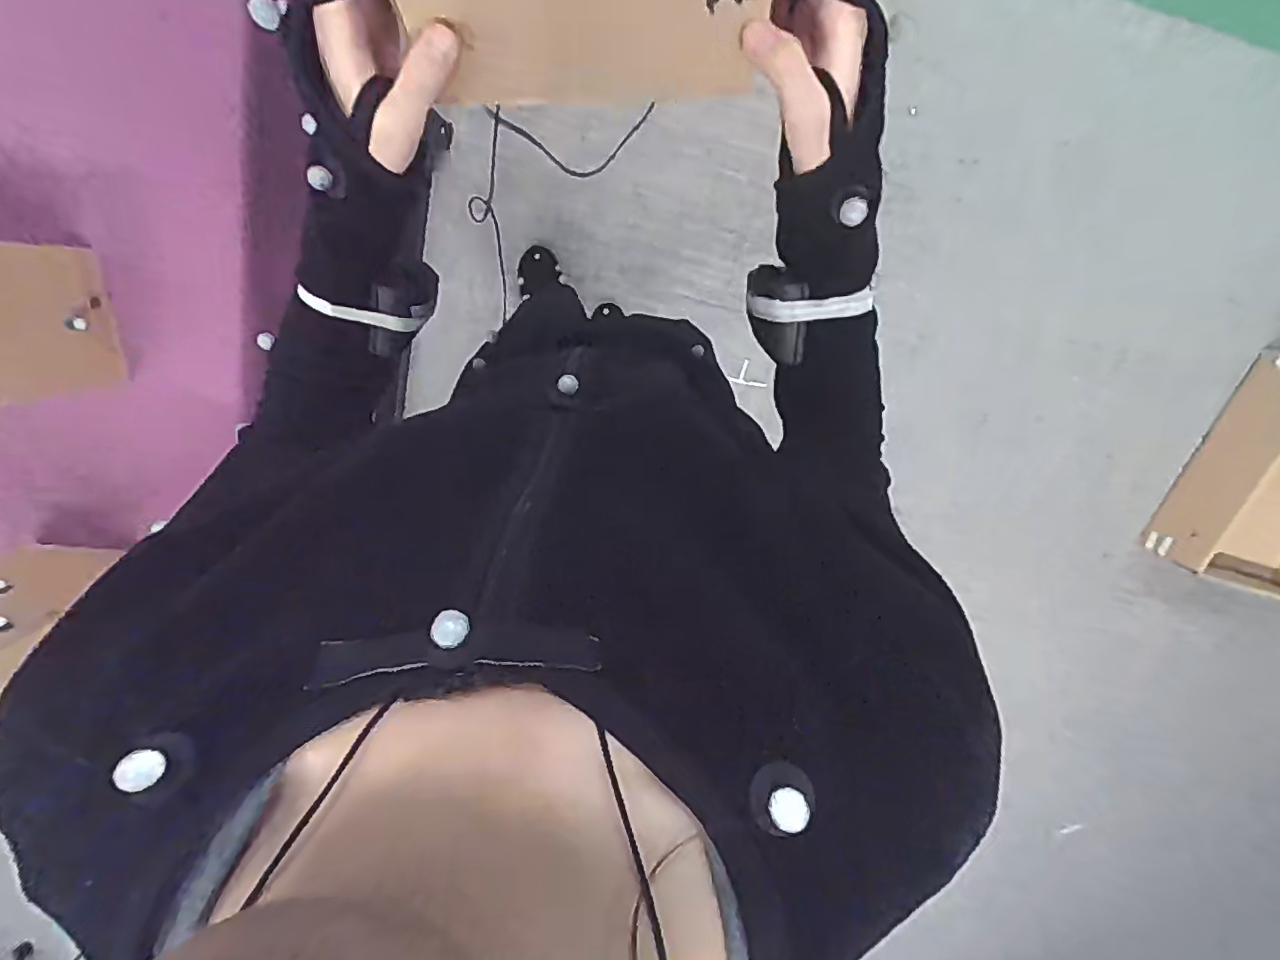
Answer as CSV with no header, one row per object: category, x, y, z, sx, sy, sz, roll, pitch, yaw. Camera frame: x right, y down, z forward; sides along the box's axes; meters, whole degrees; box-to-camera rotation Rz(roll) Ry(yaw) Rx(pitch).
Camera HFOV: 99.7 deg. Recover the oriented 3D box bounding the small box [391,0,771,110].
small box,-0.025,-0.303,0.233,0.179,0.168,0.176,0,76,-4
